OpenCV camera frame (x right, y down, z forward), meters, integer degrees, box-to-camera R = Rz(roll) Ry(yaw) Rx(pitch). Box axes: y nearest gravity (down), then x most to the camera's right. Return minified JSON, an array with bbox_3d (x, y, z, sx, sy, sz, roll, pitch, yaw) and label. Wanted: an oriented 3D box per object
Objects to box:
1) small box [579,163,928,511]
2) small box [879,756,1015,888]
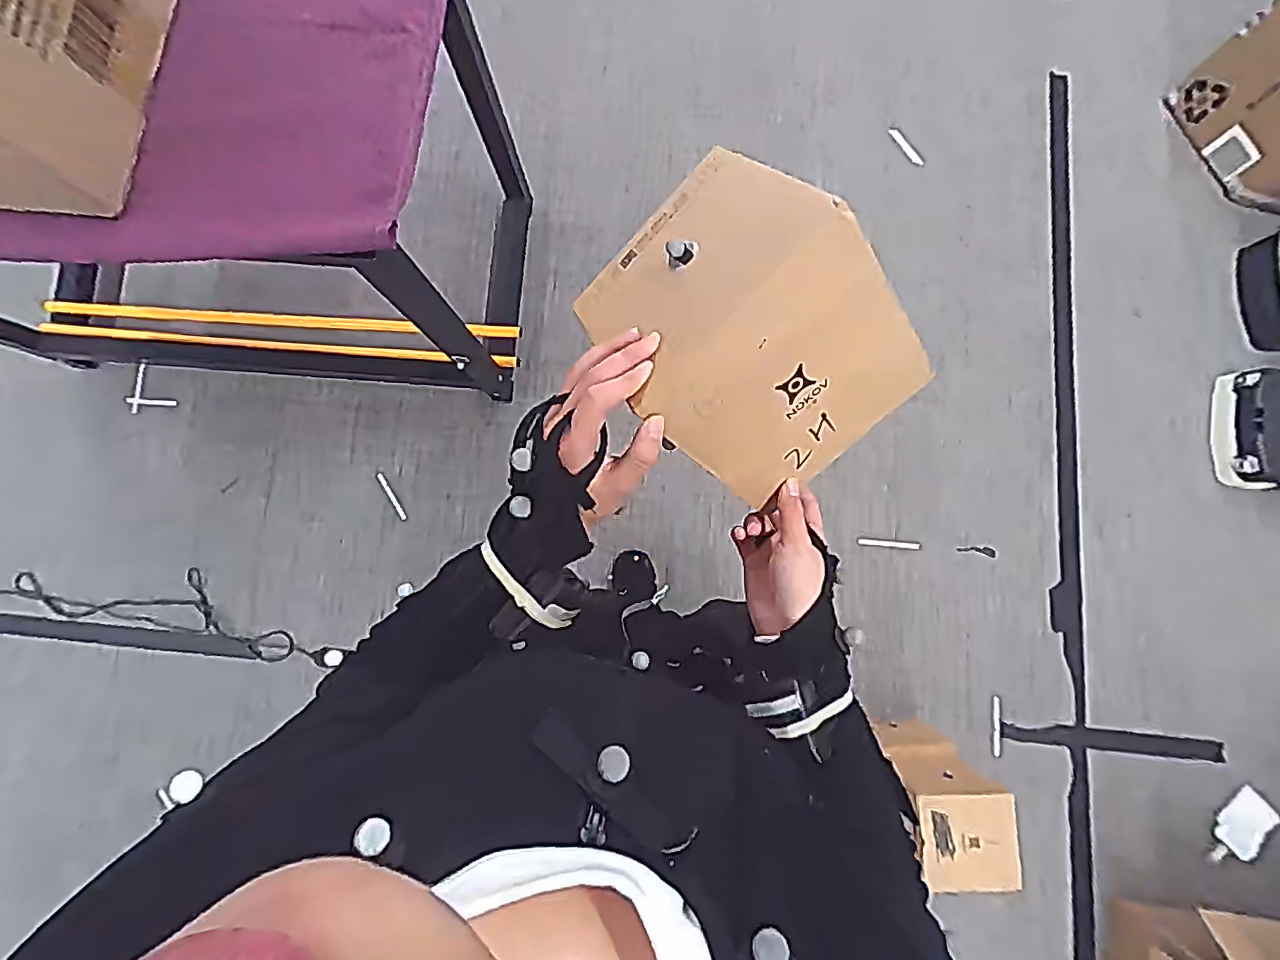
[{"bbox_3d":[0.077,-0.113,0.422,0.168,0.179,0.176,-43,43,16],"label":"small box"},{"bbox_3d":[0.583,0.656,1.053,0.179,0.176,0.168,-1,84,0],"label":"small box"}]
